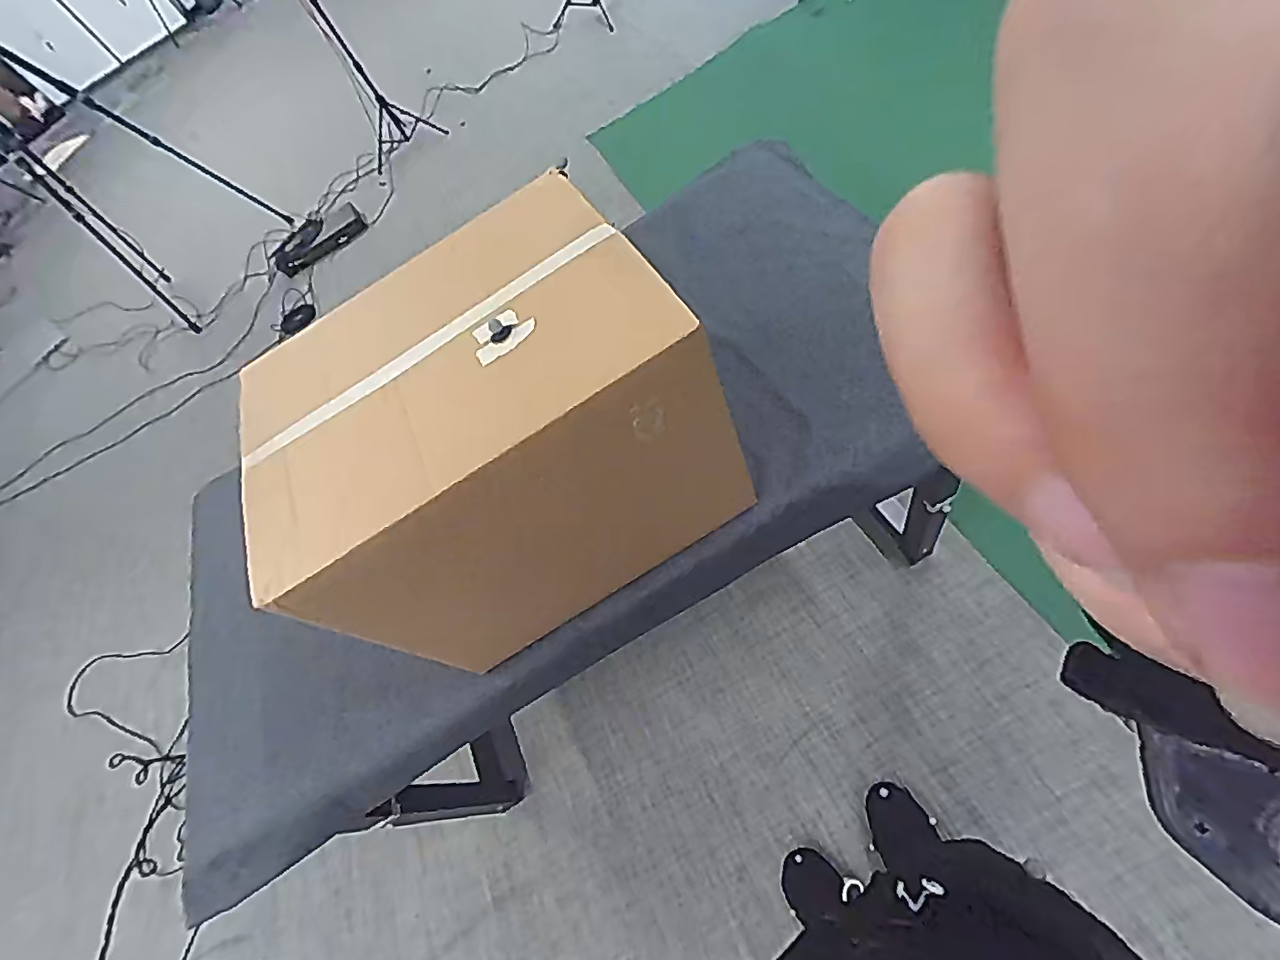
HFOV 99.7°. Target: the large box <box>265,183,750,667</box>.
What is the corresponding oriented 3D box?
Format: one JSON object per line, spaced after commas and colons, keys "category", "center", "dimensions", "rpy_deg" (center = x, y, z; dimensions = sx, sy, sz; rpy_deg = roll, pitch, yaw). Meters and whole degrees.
{"category": "large box", "center": [-0.137, -0.046, 0.631], "dimensions": [0.408, 0.320, 0.320], "rpy_deg": [-32, 56, 0]}
